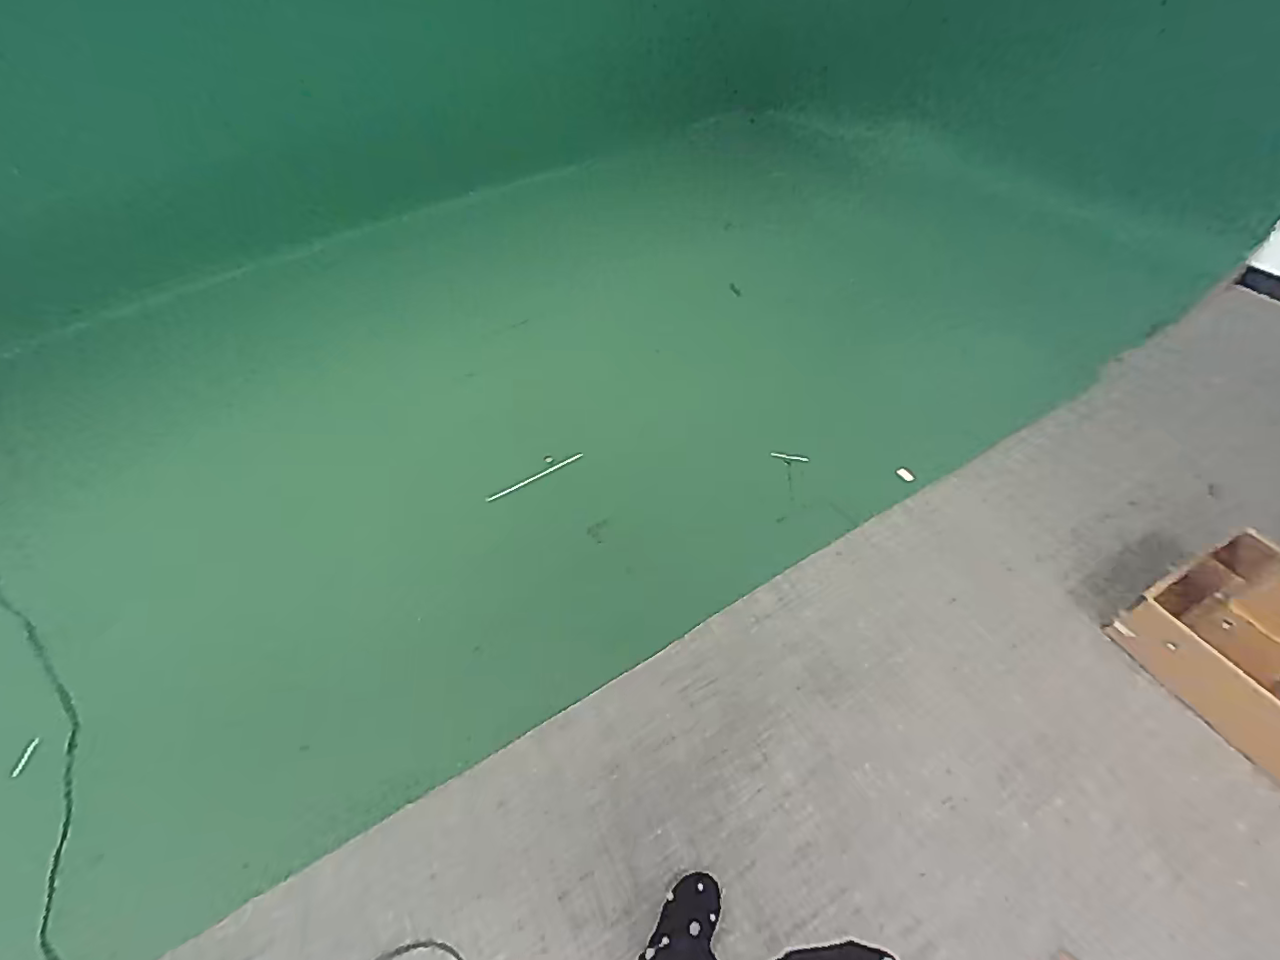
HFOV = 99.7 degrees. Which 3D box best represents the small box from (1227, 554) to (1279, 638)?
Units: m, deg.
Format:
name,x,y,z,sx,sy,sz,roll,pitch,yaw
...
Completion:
name,x,y,z,sx,sy,sz,roll,pitch,yaw
small box,1.445,0.243,1.154,0.168,0.176,0.179,-28,56,-14
